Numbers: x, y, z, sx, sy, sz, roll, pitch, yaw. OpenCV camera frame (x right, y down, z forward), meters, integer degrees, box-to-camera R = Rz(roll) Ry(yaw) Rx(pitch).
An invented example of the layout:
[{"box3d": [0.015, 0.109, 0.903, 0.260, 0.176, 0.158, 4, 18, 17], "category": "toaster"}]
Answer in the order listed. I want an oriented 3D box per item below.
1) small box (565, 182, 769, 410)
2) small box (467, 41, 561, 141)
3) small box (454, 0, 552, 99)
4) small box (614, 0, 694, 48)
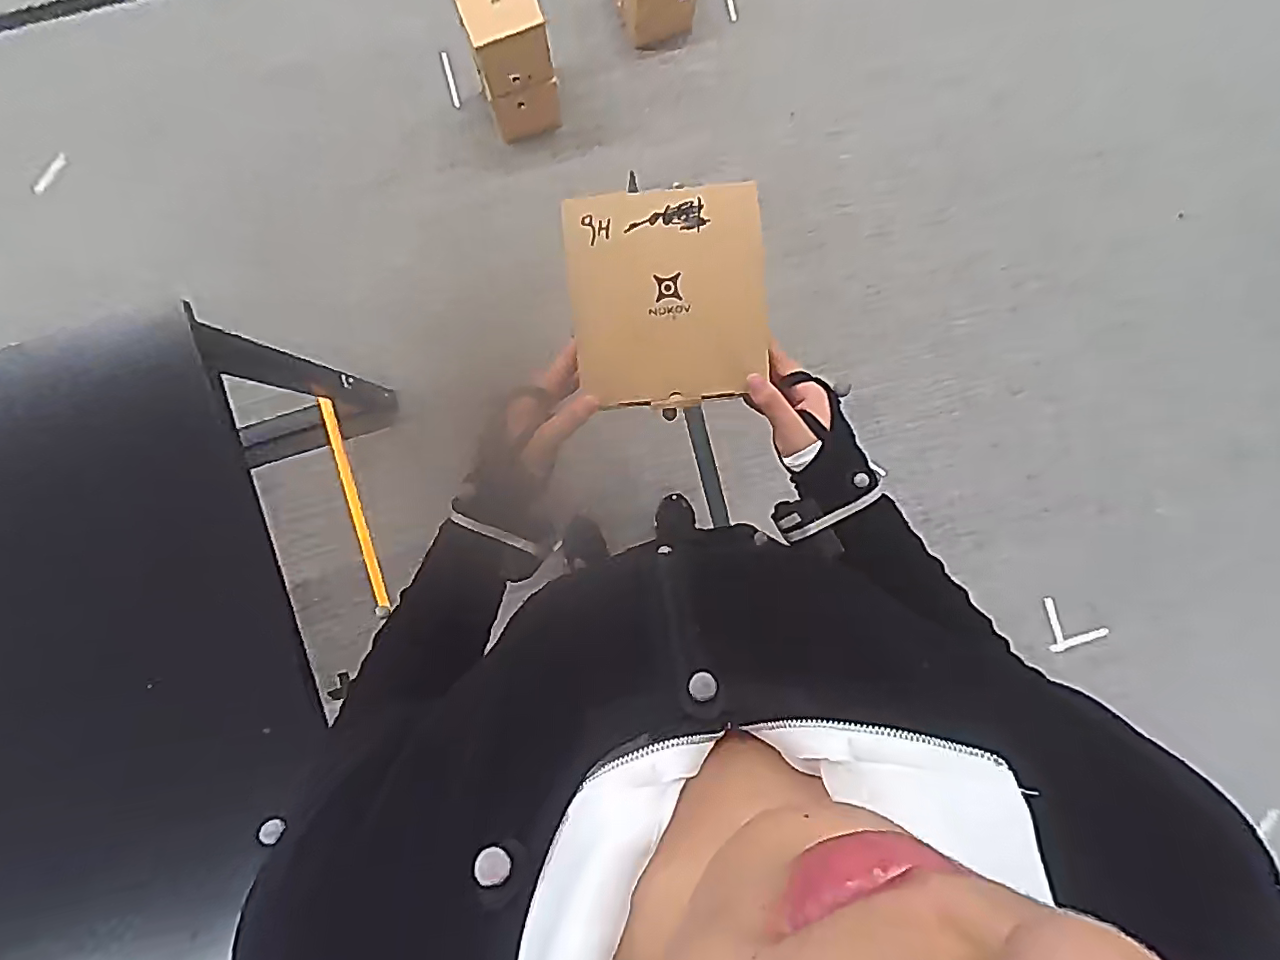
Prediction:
[{"box3d": [0.026, -0.166, 0.538, 0.168, 0.176, 0.179, -5, 98, 0], "category": "small box"}, {"box3d": [-0.317, -1.020, 1.395, 0.179, 0.176, 0.168, -19, 92, -2], "category": "small box"}, {"box3d": [-0.314, -1.029, 1.233, 0.168, 0.176, 0.179, -22, 93, 0], "category": "small box"}, {"box3d": [0.034, -1.289, 1.408, 0.179, 0.176, 0.168, -22, 91, -2], "category": "small box"}]
